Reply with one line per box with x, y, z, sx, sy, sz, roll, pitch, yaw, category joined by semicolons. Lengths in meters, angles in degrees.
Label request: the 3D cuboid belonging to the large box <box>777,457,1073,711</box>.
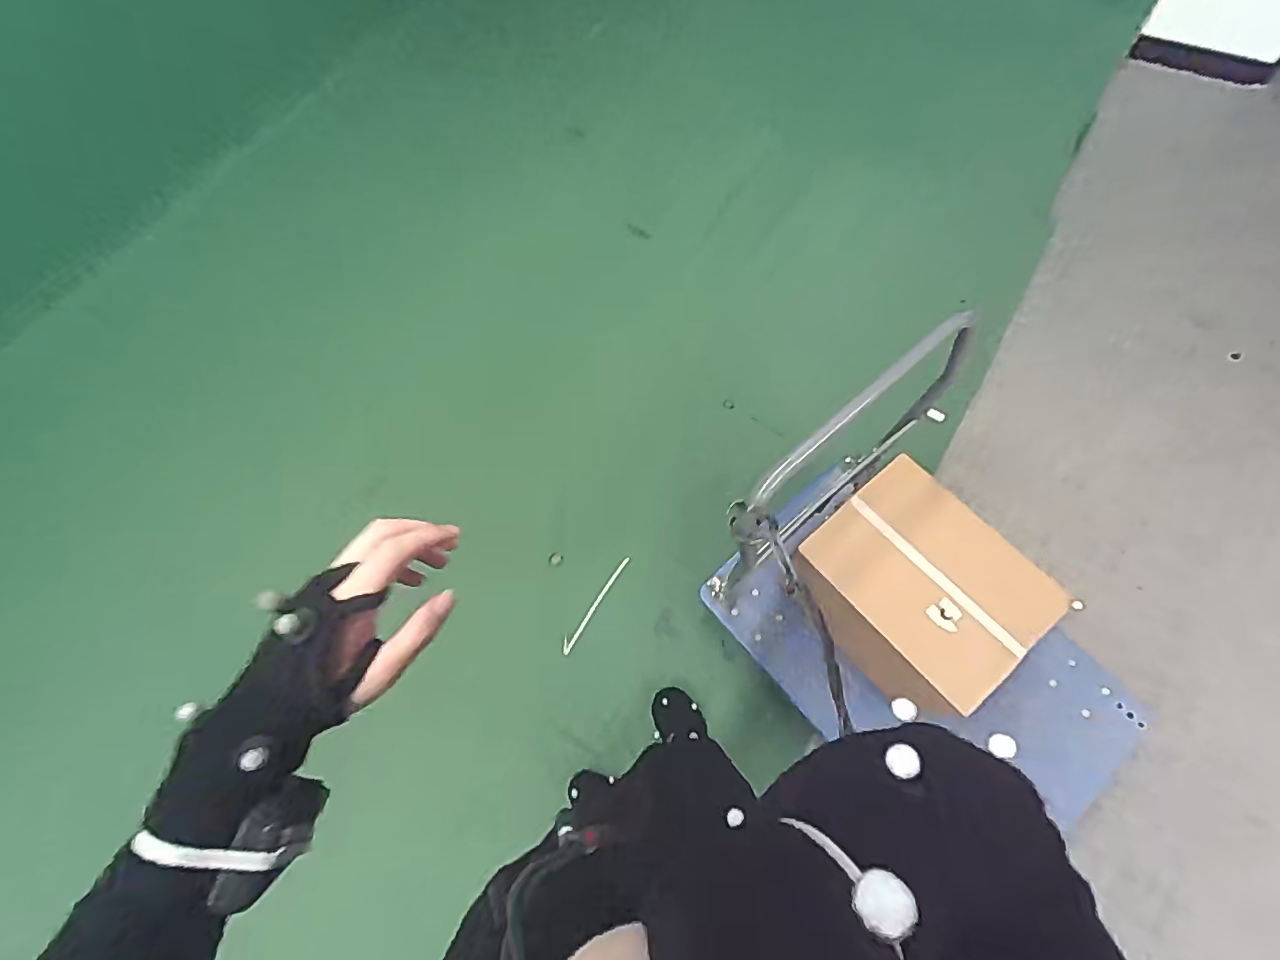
0.568;0.230;1.169;0.320;0.320;0.408;-39;71;-10;large box
